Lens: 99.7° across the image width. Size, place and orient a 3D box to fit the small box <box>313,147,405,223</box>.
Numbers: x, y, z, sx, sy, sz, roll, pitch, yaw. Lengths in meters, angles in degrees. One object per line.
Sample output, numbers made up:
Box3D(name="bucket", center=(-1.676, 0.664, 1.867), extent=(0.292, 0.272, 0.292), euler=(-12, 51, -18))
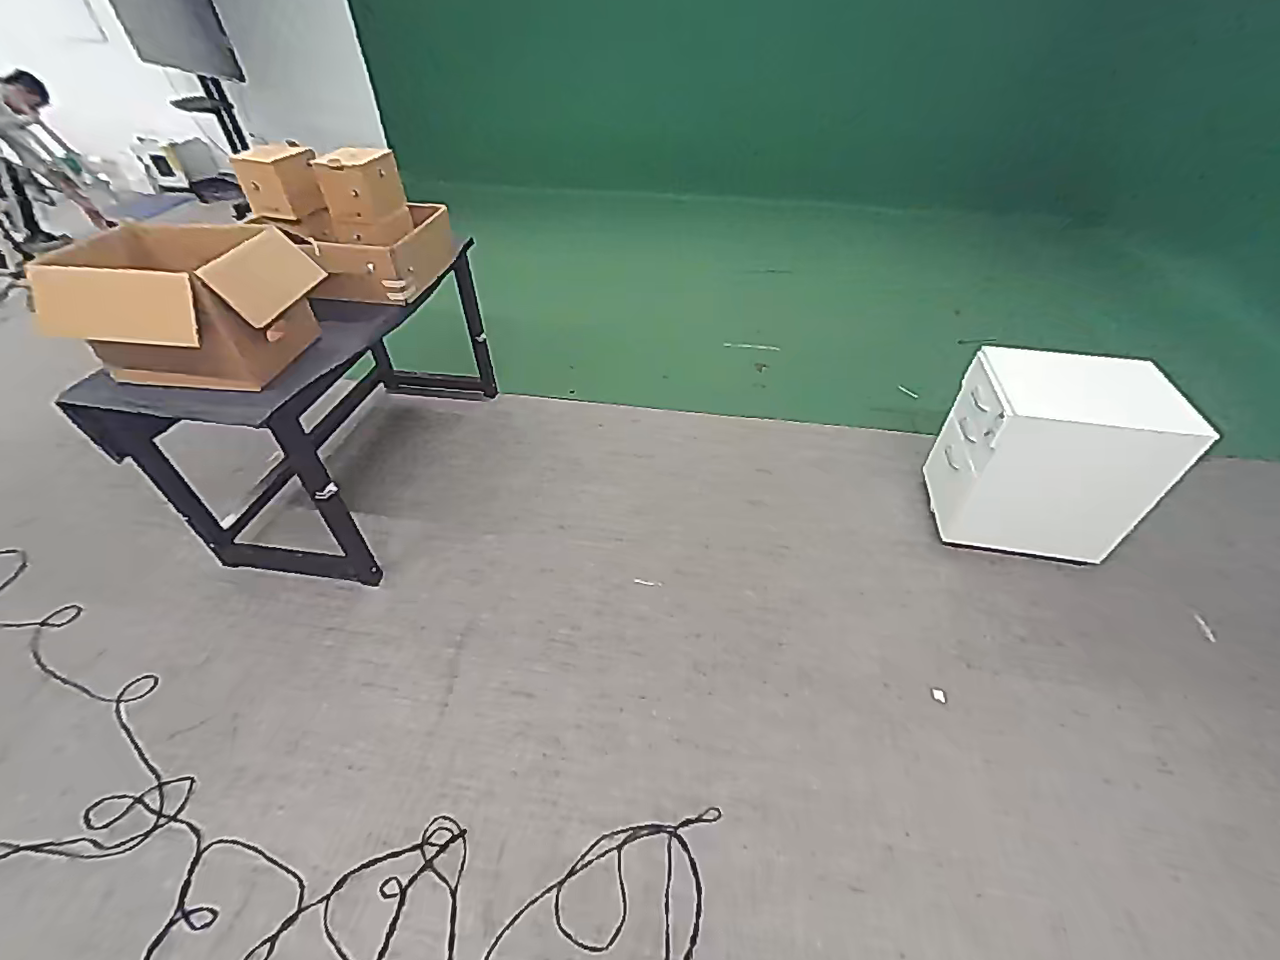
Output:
Box3D(name="small box", center=(-0.864, -0.919, 1.686), extent=(0.168, 0.176, 0.179), euler=(10, 45, 8))

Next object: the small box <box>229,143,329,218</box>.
Box3D(name="small box", center=(-1.131, -0.950, 1.715), extent=(0.168, 0.176, 0.179), euler=(13, 45, 11))
